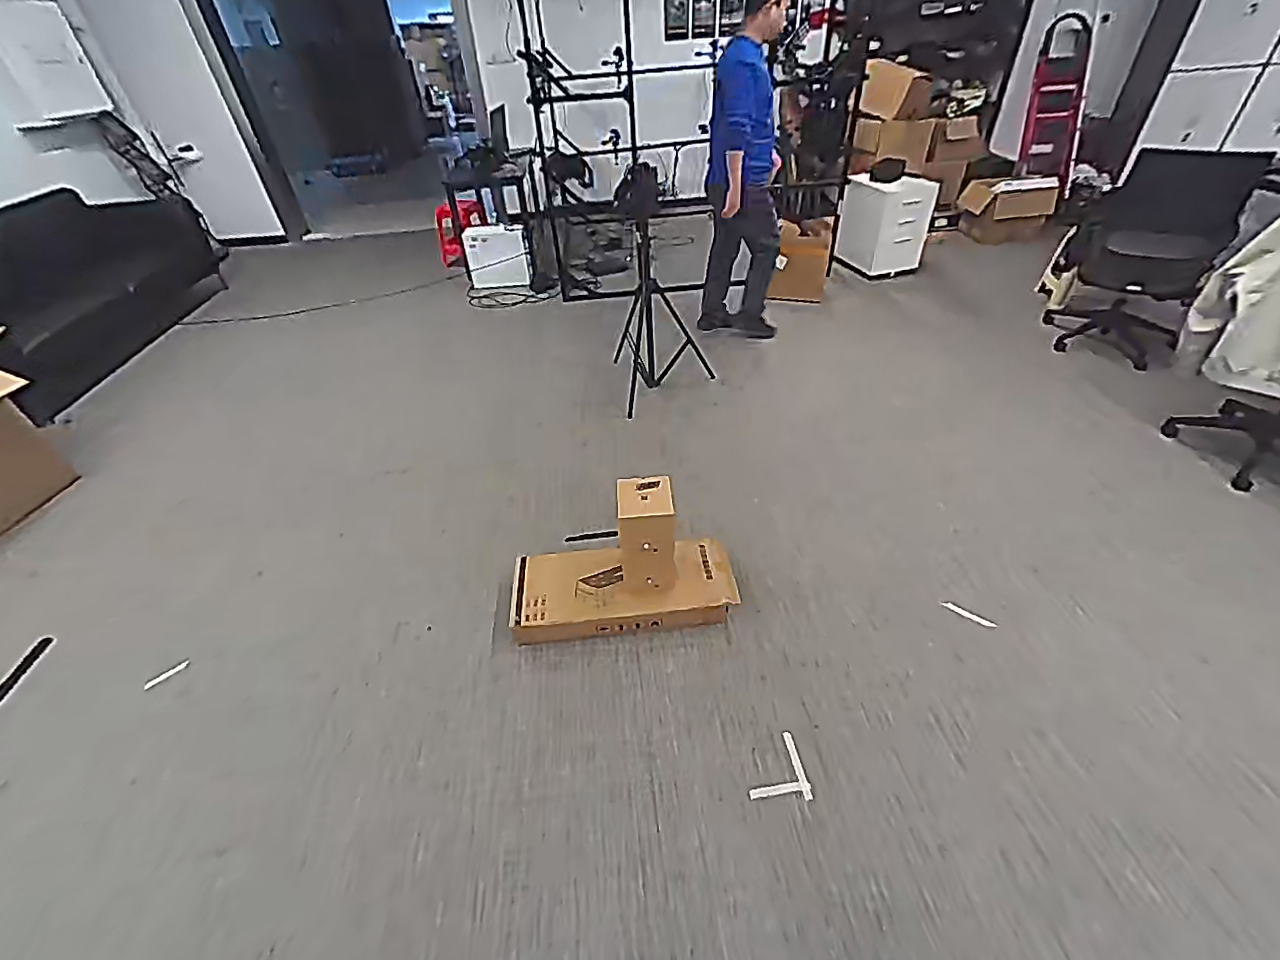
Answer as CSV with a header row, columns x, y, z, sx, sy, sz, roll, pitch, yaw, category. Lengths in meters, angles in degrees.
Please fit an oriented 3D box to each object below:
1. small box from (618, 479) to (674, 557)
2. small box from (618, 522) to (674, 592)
x,y,z,sx,sy,sz,roll,pitch,yaw,category
0.018,0.117,1.687,0.168,0.176,0.179,-5,40,0,small box
0.019,0.246,1.789,0.168,0.176,0.179,-7,39,-3,small box
